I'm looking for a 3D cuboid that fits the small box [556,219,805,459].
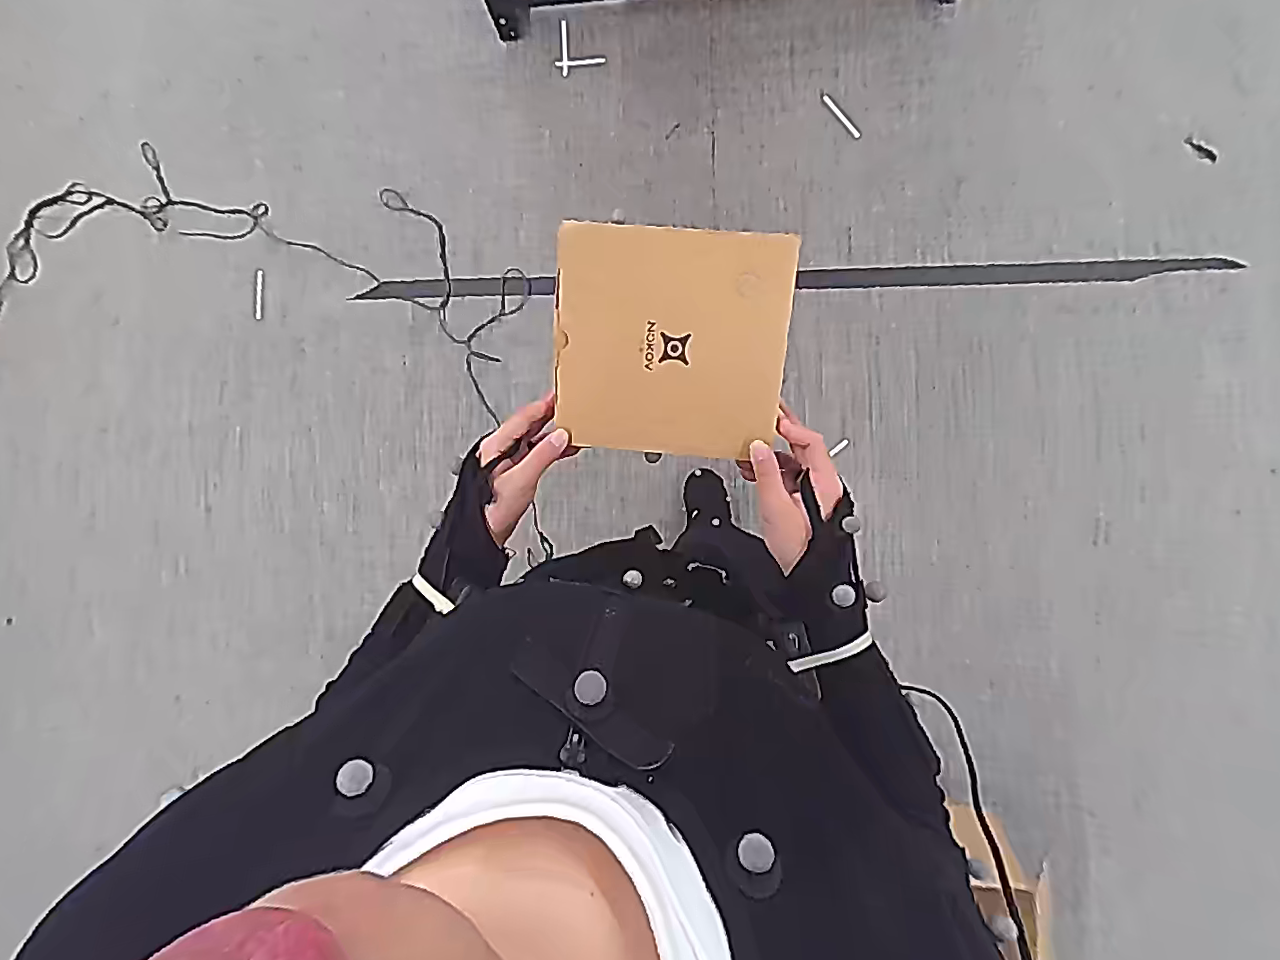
[{"bbox_3d":[0.032,-0.123,0.478,0.179,0.176,0.168,5,106,5],"label":"small box"}]
